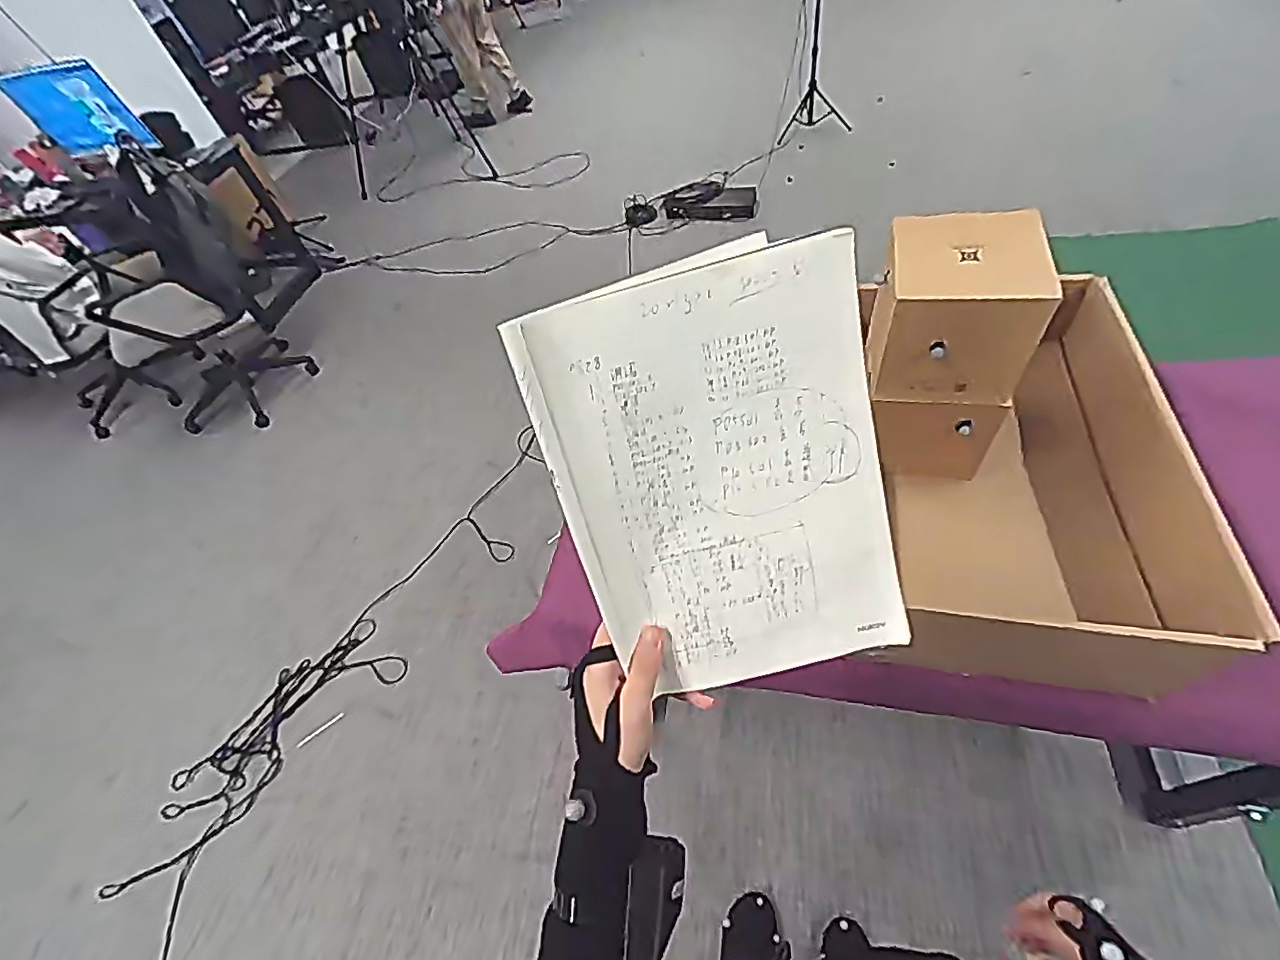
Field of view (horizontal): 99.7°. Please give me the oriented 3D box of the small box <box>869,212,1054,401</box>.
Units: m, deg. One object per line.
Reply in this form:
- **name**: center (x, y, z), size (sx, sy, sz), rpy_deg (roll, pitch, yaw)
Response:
- **small box**: center (0.401, -0.220, 0.707), size (0.168, 0.176, 0.179), rpy_deg (5, 54, 17)
